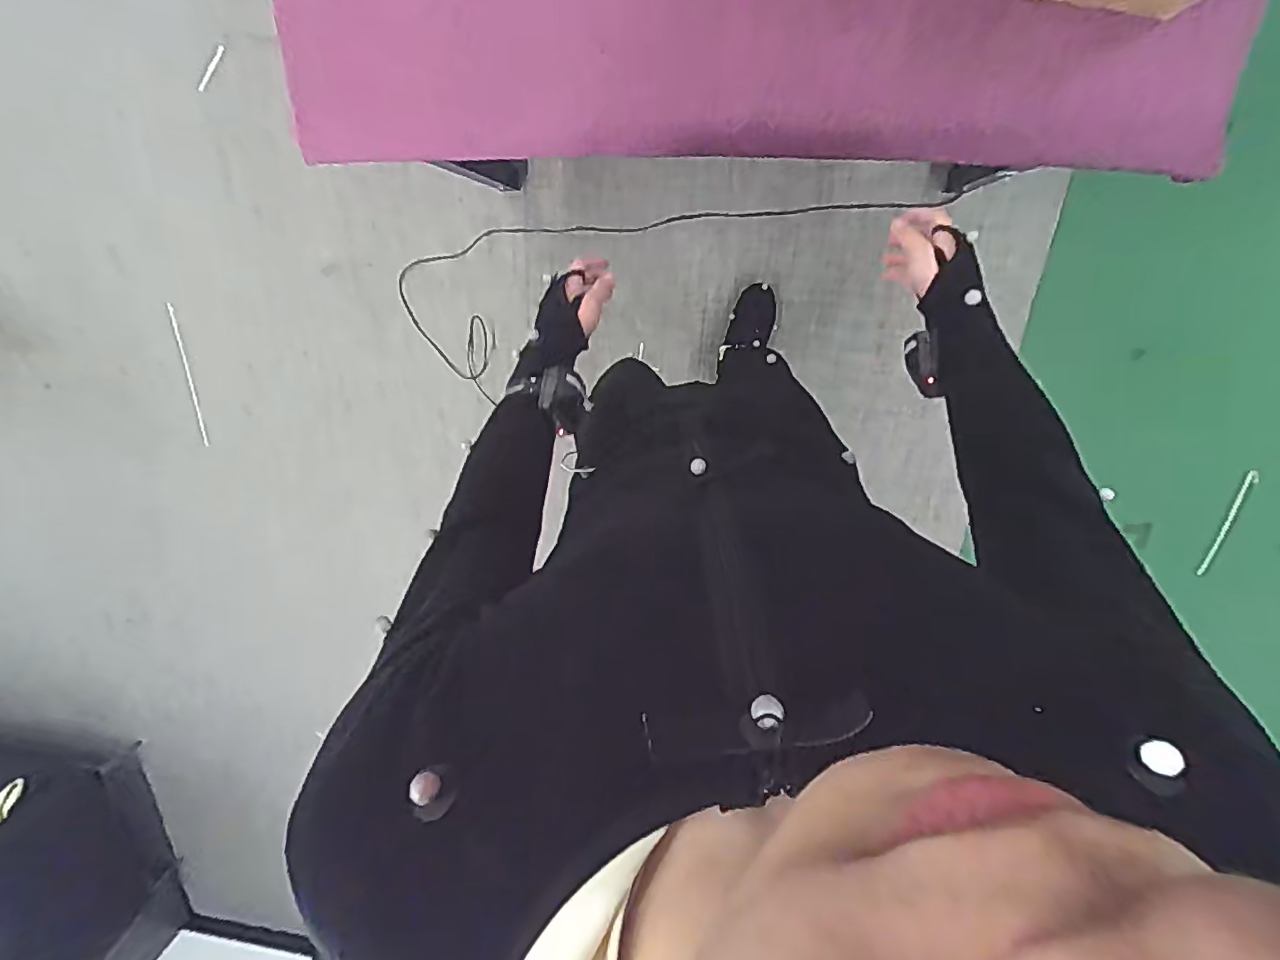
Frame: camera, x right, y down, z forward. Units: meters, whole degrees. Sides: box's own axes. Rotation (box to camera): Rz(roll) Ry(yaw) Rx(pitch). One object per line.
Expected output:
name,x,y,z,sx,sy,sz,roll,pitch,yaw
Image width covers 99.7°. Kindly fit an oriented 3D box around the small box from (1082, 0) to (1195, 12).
small box,0.522,-0.583,0.508,0.179,0.176,0.168,16,113,5
